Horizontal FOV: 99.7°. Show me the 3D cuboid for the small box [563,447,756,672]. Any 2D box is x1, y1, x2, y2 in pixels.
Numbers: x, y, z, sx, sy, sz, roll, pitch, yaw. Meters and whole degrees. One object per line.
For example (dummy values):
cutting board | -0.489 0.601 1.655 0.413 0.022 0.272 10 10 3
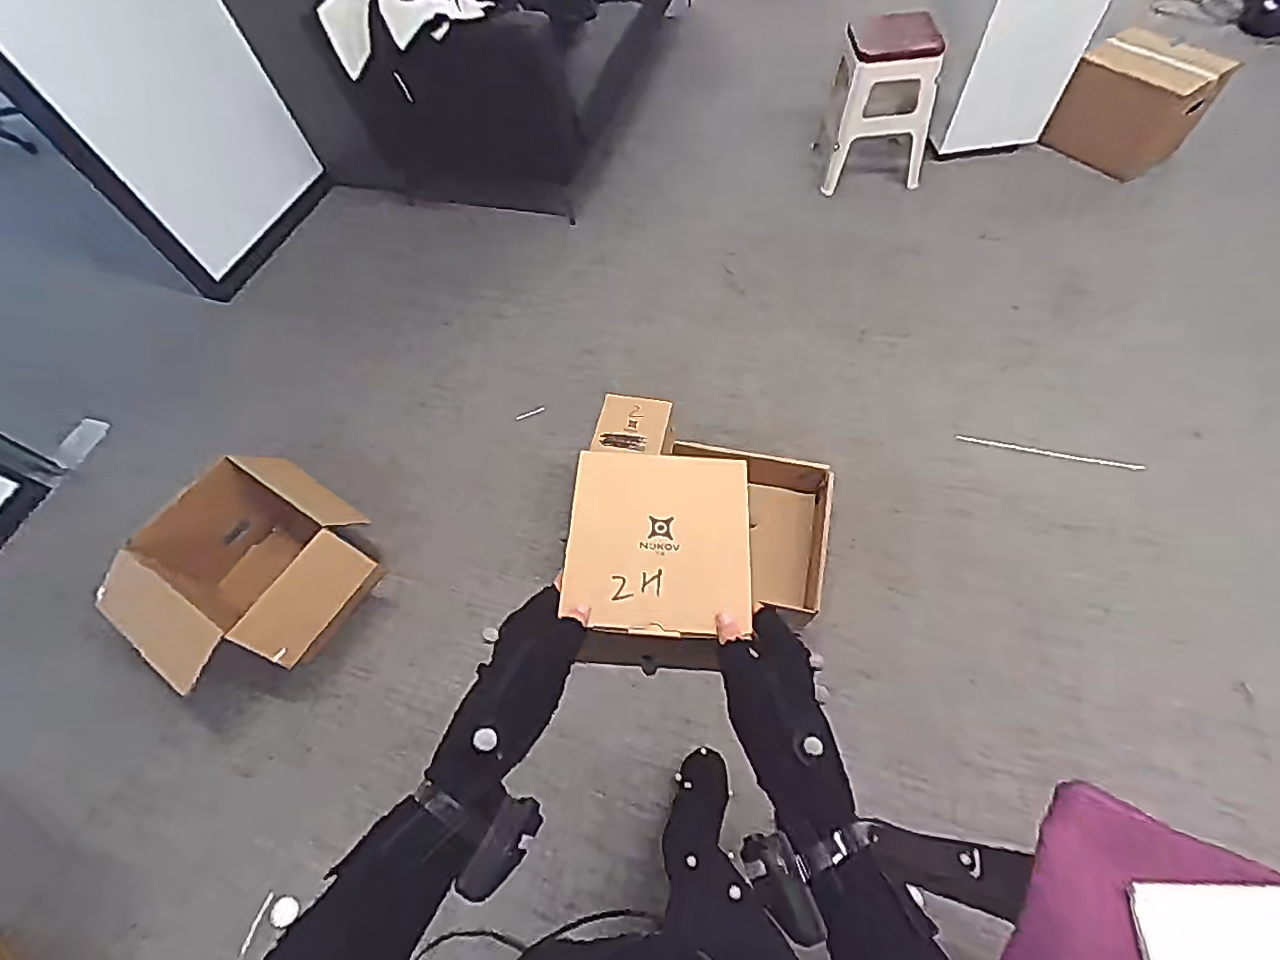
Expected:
small box | 0.020 0.088 0.560 0.168 0.176 0.179 5 61 1
